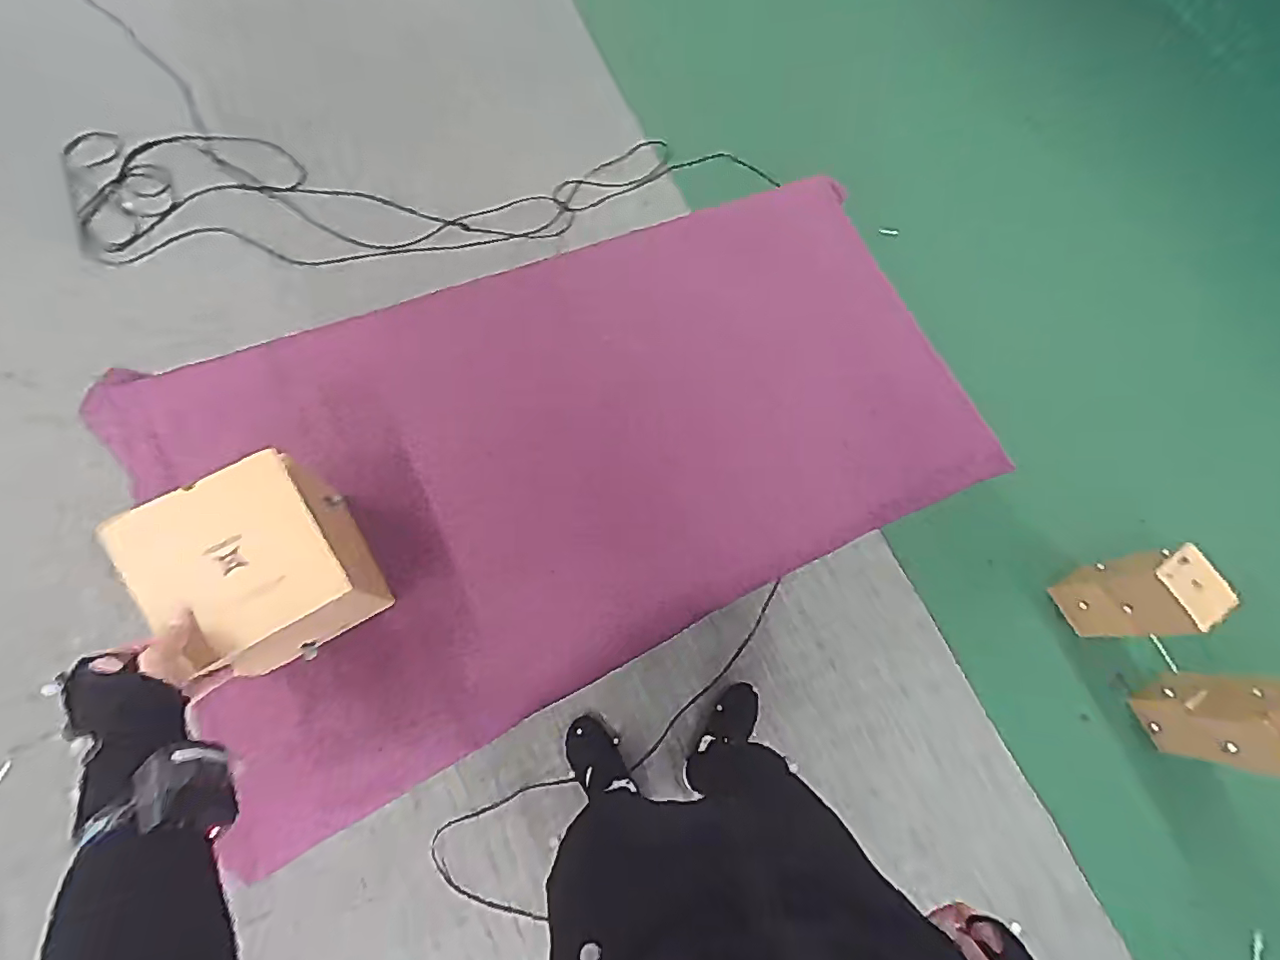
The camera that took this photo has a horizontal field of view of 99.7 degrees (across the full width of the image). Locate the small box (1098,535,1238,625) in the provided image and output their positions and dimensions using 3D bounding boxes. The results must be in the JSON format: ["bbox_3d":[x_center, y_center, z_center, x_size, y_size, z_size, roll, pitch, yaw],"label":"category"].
[{"bbox_3d":[1.403,0.272,1.447,0.168,0.176,0.179,-28,79,-16],"label":"small box"}]

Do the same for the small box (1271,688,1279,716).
[{"bbox_3d":[1.624,0.540,1.221,0.168,0.176,0.179,-31,79,-16],"label":"small box"}]

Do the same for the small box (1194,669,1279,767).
[{"bbox_3d":[1.586,0.598,1.372,0.179,0.176,0.168,-33,80,-16],"label":"small box"}]

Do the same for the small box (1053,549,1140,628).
[{"bbox_3d":[1.380,0.325,1.600,0.179,0.176,0.168,-25,78,-16],"label":"small box"}]

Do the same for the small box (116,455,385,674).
[{"bbox_3d":[-0.430,0.103,0.627,0.168,0.176,0.179,-30,80,-15],"label":"small box"}]
